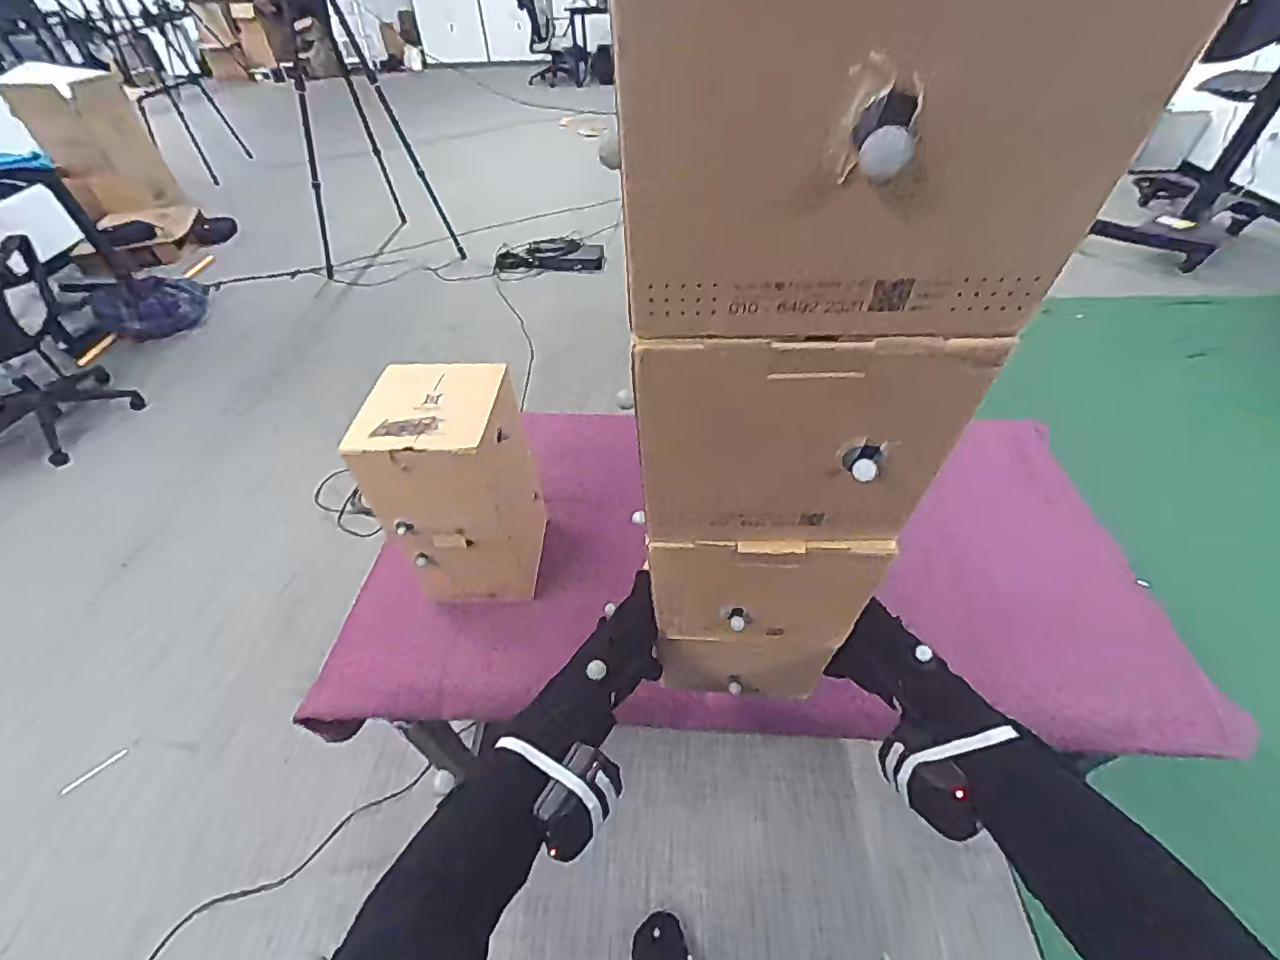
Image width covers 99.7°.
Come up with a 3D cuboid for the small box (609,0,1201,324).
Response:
[{"bbox_3d":[0.079,-0.178,0.212,0.168,0.176,0.179,1,55,3],"label":"small box"}]

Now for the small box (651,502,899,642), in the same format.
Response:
[{"bbox_3d":[0.098,0.023,0.470,0.168,0.176,0.179,2,54,5],"label":"small box"}]

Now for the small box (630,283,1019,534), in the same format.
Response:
[{"bbox_3d":[0.087,-0.078,0.342,0.168,0.176,0.179,1,54,4],"label":"small box"}]

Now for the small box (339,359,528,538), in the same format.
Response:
[{"bbox_3d":[-0.254,-0.040,0.721,0.168,0.176,0.179,3,47,3],"label":"small box"}]

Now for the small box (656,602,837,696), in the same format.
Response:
[{"bbox_3d":[0.108,0.121,0.600,0.168,0.176,0.179,2,54,7],"label":"small box"}]
